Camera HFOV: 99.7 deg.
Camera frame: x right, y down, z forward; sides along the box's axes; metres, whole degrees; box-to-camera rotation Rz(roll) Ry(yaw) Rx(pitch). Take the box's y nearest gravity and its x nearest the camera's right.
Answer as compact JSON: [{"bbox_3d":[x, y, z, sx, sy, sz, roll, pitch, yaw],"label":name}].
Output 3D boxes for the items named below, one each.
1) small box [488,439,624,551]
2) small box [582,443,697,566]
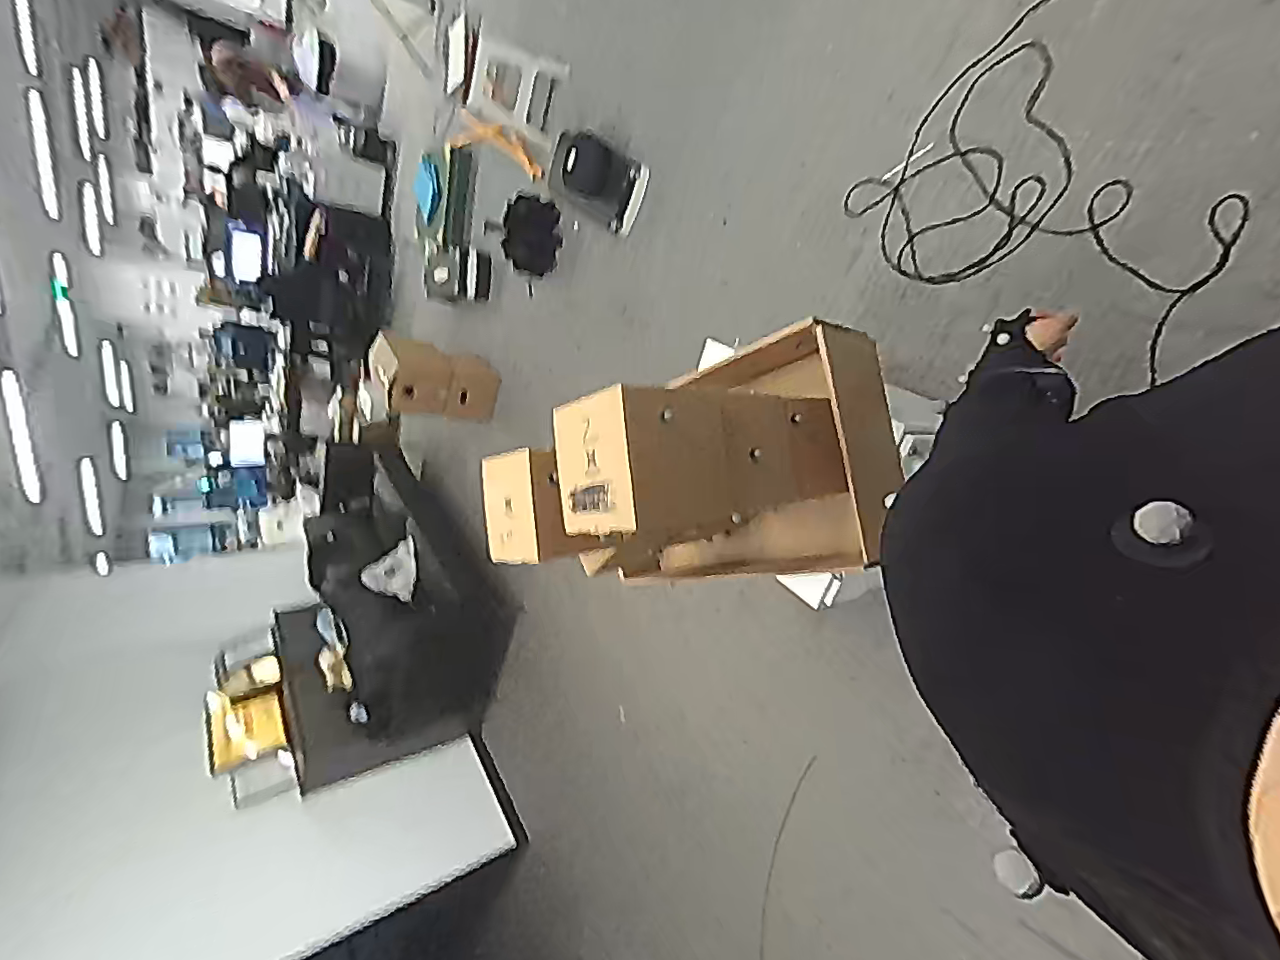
[{"bbox_3d":[-0.146,0.025,0.945,0.168,0.176,0.179,-7,89,49],"label":"small box"},{"bbox_3d":[-0.023,0.044,1.057,0.168,0.176,0.179,-48,60,40],"label":"small box"}]
